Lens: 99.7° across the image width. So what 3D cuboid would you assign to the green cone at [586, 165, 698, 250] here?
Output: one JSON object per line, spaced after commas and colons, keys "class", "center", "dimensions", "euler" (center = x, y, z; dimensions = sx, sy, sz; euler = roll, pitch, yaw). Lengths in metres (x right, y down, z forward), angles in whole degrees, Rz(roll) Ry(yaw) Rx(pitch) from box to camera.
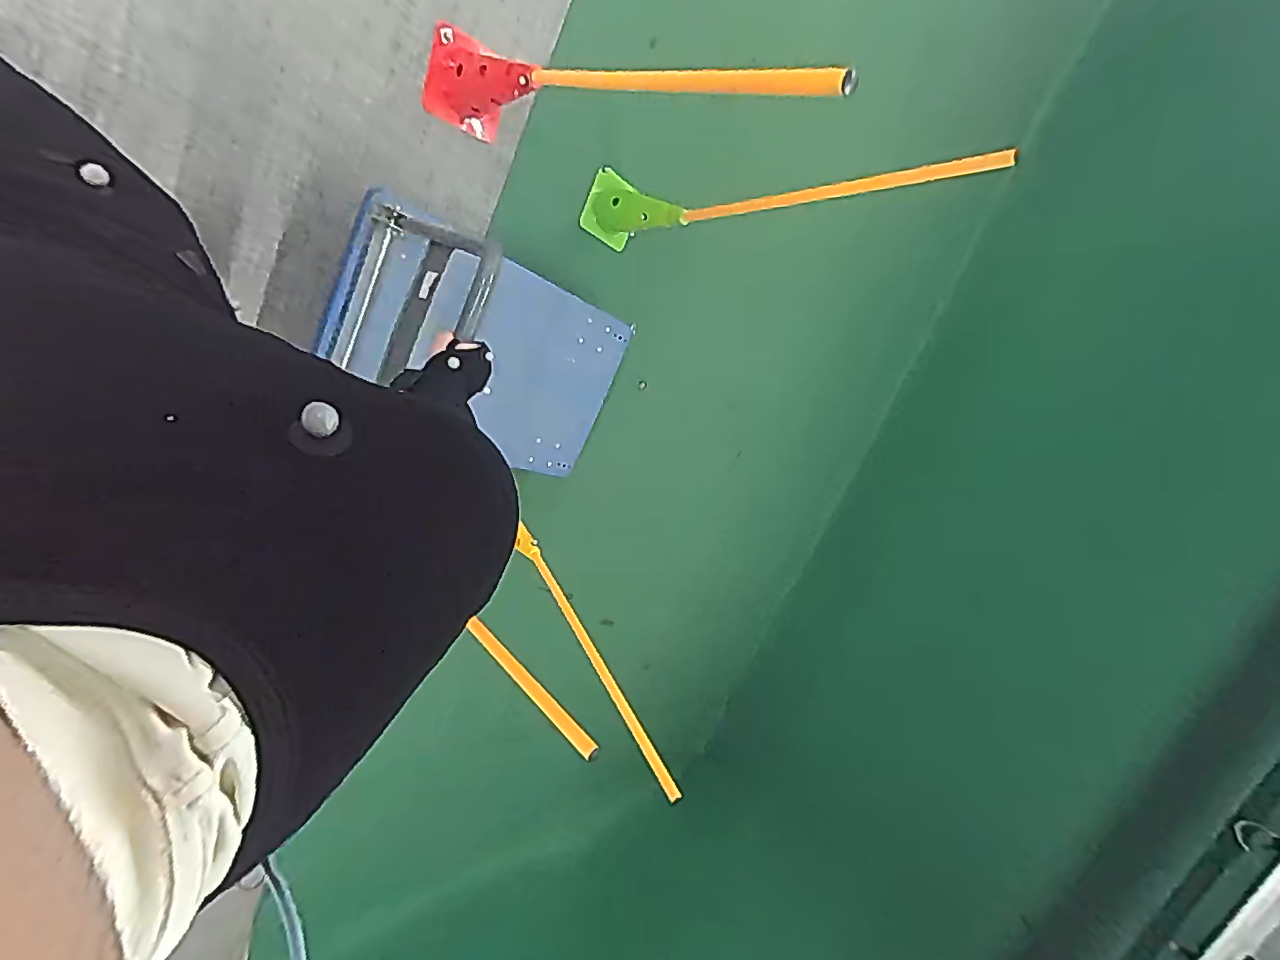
{"class": "green cone", "center": [0.033, -0.817, 1.658], "dimensions": [0.202, 0.368, 0.200], "euler": [12, 105, -48]}
